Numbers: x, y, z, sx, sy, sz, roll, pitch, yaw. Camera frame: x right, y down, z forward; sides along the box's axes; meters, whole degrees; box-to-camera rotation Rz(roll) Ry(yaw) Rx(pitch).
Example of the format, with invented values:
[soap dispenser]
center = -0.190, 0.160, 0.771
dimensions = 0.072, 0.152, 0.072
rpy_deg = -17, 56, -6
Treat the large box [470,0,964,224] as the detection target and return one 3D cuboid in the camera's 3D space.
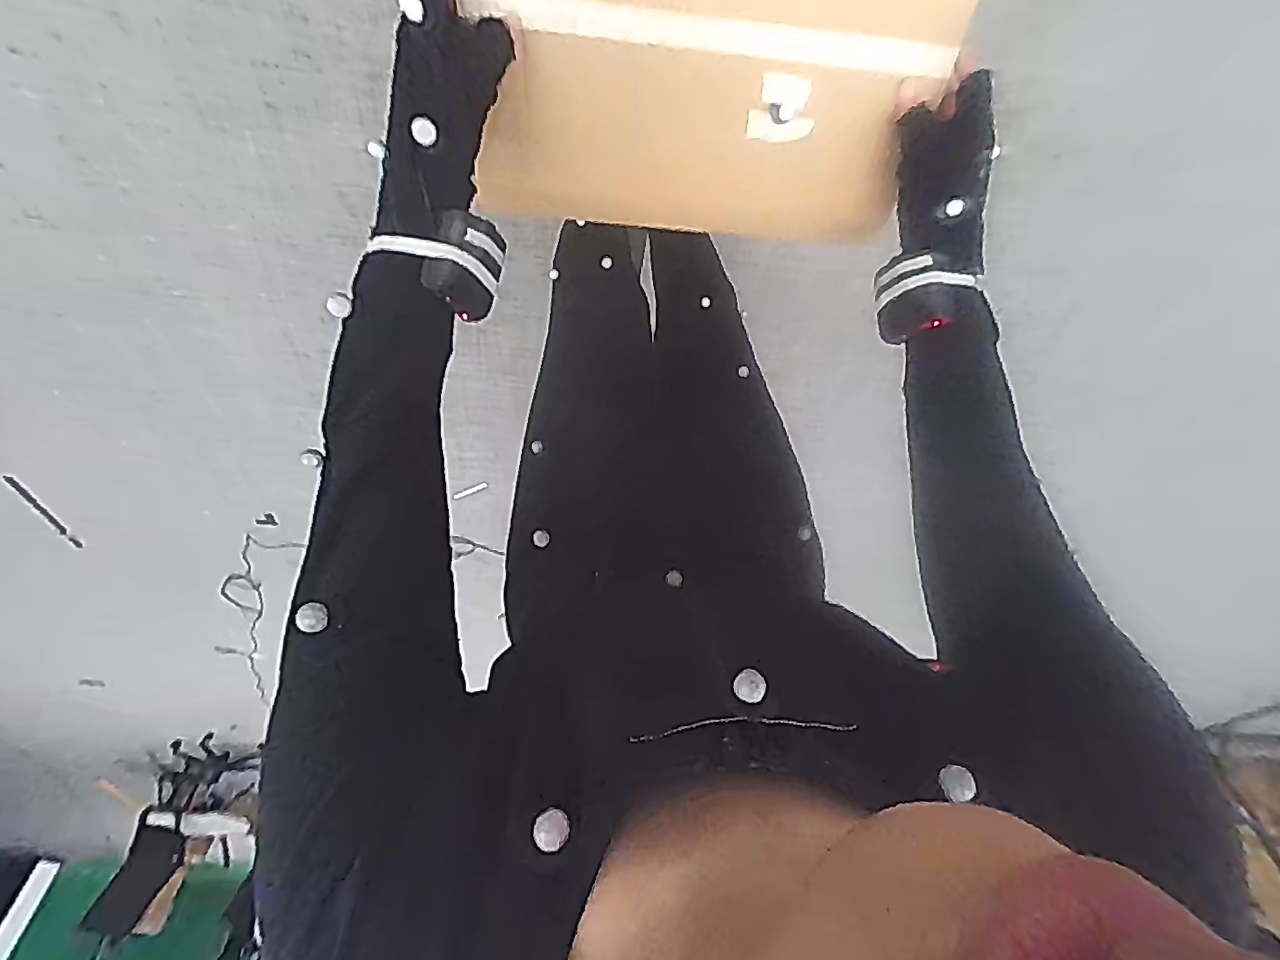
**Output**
[large box]
center = 0.053, -0.483, 0.540
dimensions = 0.408, 0.320, 0.320
rpy_deg = 1, 137, -6
